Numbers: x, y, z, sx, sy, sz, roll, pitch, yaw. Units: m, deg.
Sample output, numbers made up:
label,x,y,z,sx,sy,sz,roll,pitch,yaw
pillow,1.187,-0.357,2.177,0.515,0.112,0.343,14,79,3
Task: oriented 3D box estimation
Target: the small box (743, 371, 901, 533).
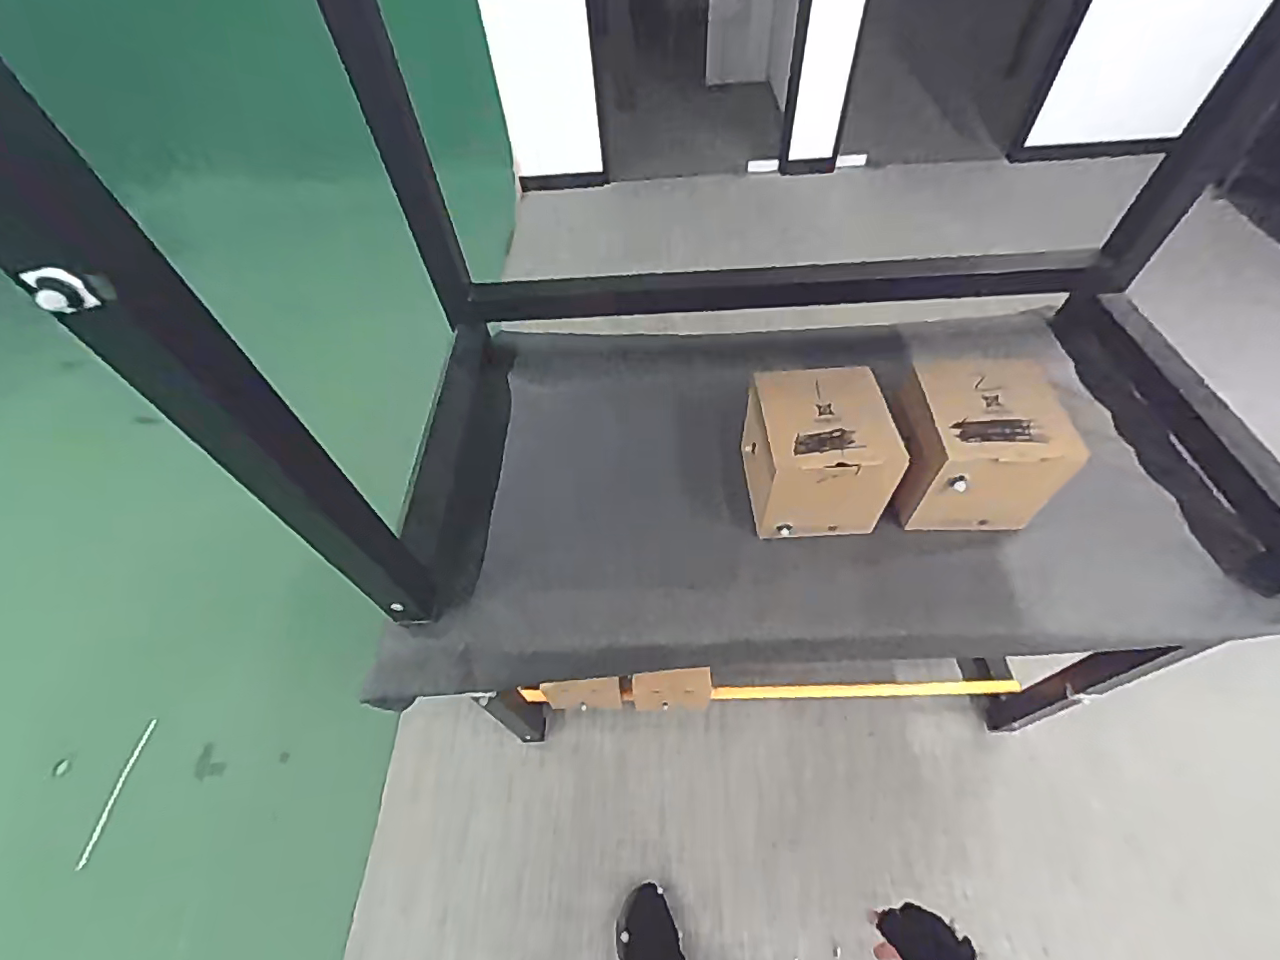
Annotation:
label,x,y,z,sx,sy,sz,roll,pitch,yaw
small box,0.249,-0.033,0.788,0.168,0.176,0.179,-3,52,2
